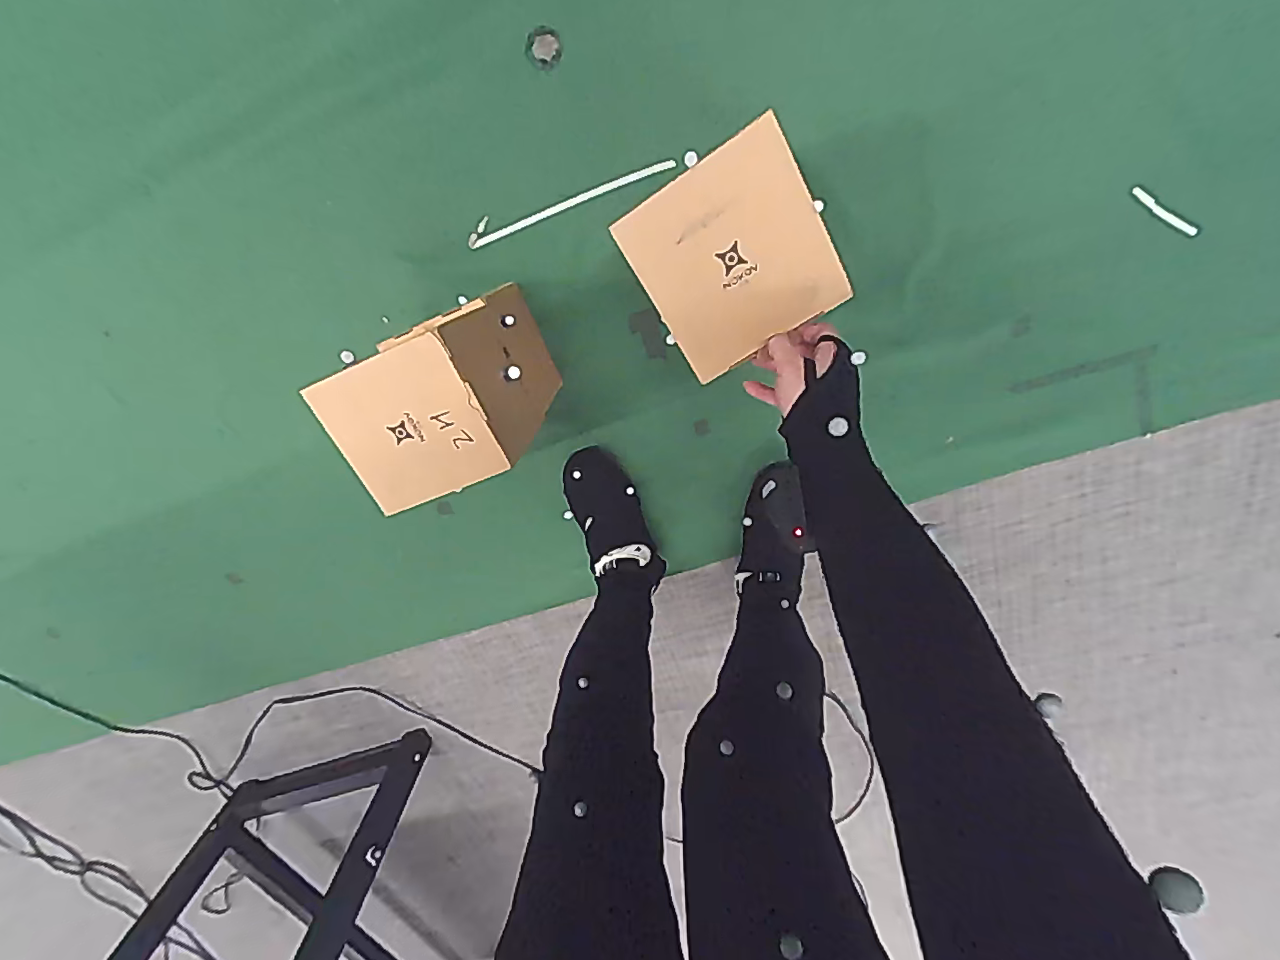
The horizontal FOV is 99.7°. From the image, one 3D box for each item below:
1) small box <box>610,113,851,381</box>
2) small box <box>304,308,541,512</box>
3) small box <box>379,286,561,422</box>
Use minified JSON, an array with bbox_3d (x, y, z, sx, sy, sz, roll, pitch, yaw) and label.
[{"bbox_3d":[0.089,-0.237,0.564,0.168,0.176,0.179,-29,112,15],"label":"small box"},{"bbox_3d":[-0.243,-0.090,0.655,0.179,0.176,0.168,-20,113,12],"label":"small box"},{"bbox_3d":[-0.234,-0.166,0.800,0.168,0.176,0.179,-20,112,13],"label":"small box"}]
